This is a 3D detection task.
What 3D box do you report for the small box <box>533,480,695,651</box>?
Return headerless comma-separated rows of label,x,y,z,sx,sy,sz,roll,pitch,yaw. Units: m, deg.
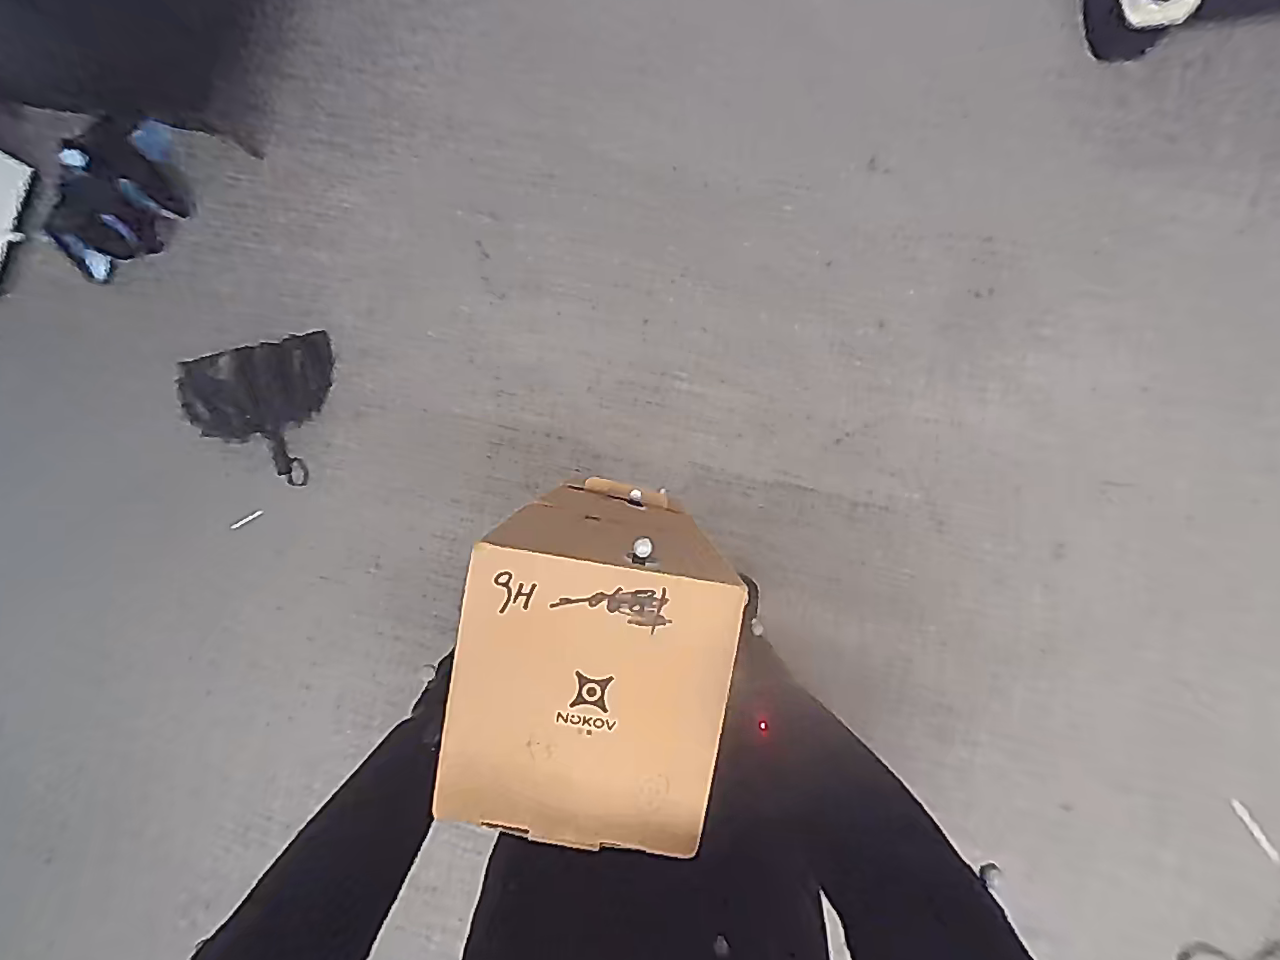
small box,-0.032,0.101,0.725,0.168,0.176,0.179,13,94,0
